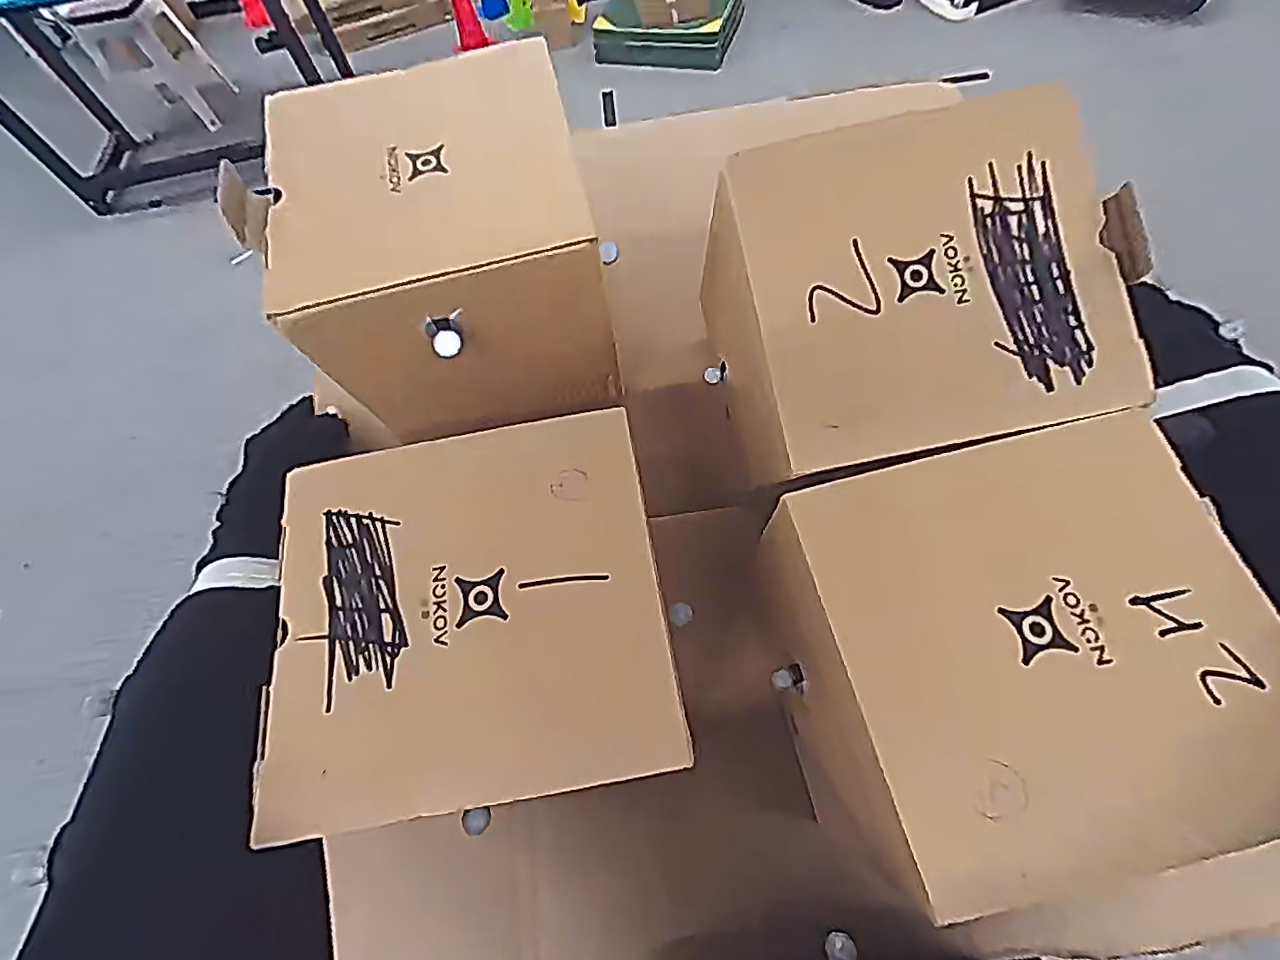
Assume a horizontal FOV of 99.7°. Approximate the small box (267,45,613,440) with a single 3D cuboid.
[{"bbox_3d":[-0.121,-0.148,0.382,0.179,0.176,0.168,-14,70,0],"label":"small box"}]
